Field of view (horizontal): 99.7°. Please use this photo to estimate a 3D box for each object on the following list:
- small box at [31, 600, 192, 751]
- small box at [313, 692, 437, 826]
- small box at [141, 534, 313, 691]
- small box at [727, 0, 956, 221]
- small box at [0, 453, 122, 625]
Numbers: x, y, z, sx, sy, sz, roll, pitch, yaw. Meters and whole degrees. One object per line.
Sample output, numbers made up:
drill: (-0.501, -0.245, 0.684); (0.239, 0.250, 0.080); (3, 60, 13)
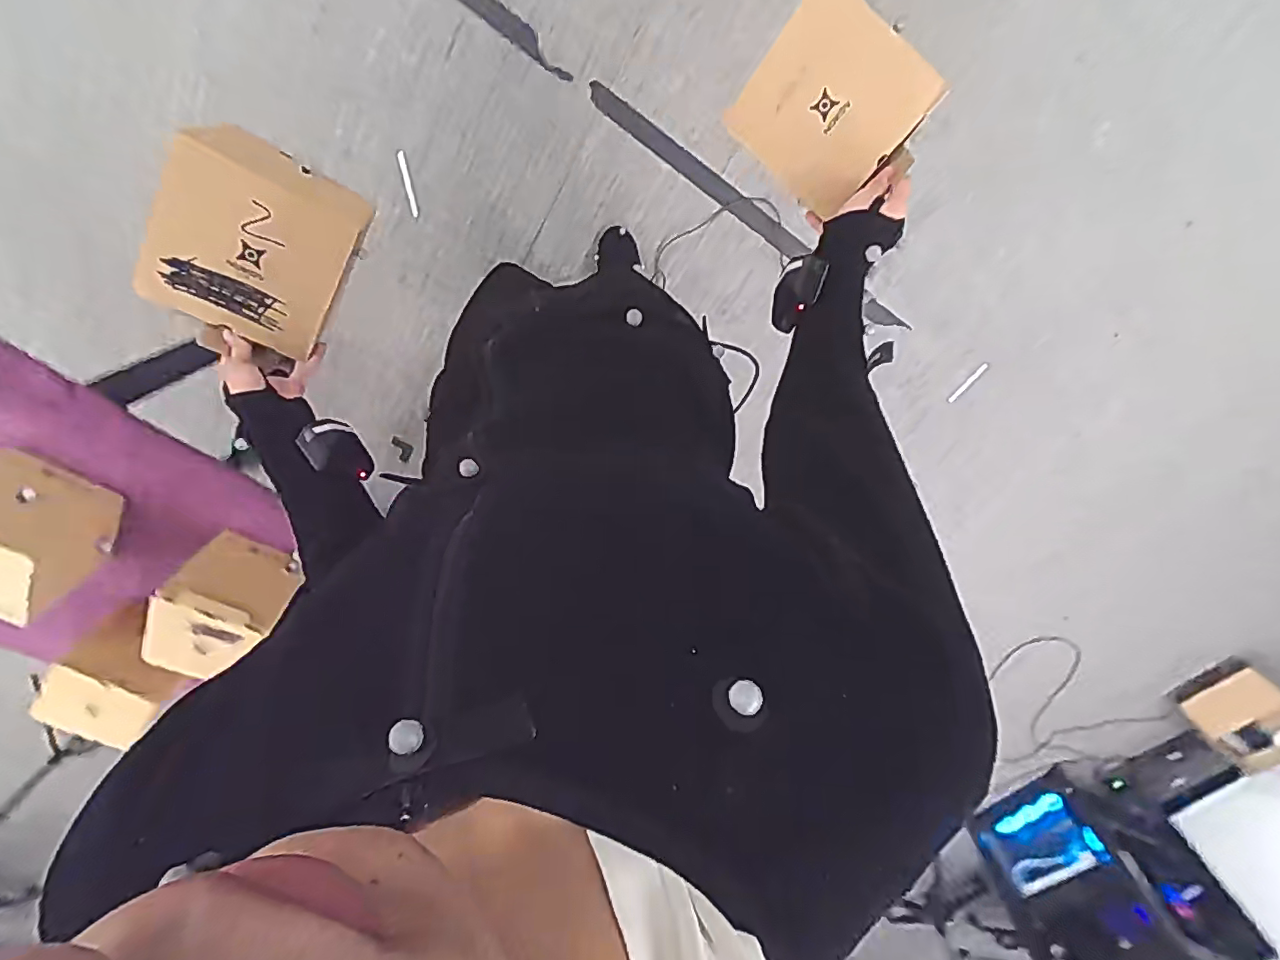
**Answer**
small box: (-0.969, 0.366, 1.025); (0.168, 0.176, 0.179); (35, 112, -19)
small box: (-0.559, 0.594, 1.158); (0.168, 0.176, 0.179); (26, 116, -15)
small box: (-0.708, 0.226, 0.944); (0.168, 0.176, 0.179); (28, 117, -15)
small box: (0.236, -0.445, 0.641); (0.179, 0.176, 0.168); (41, 127, -5)
small box: (-0.987, 0.088, 0.860); (0.168, 0.176, 0.179); (31, 116, -17)
